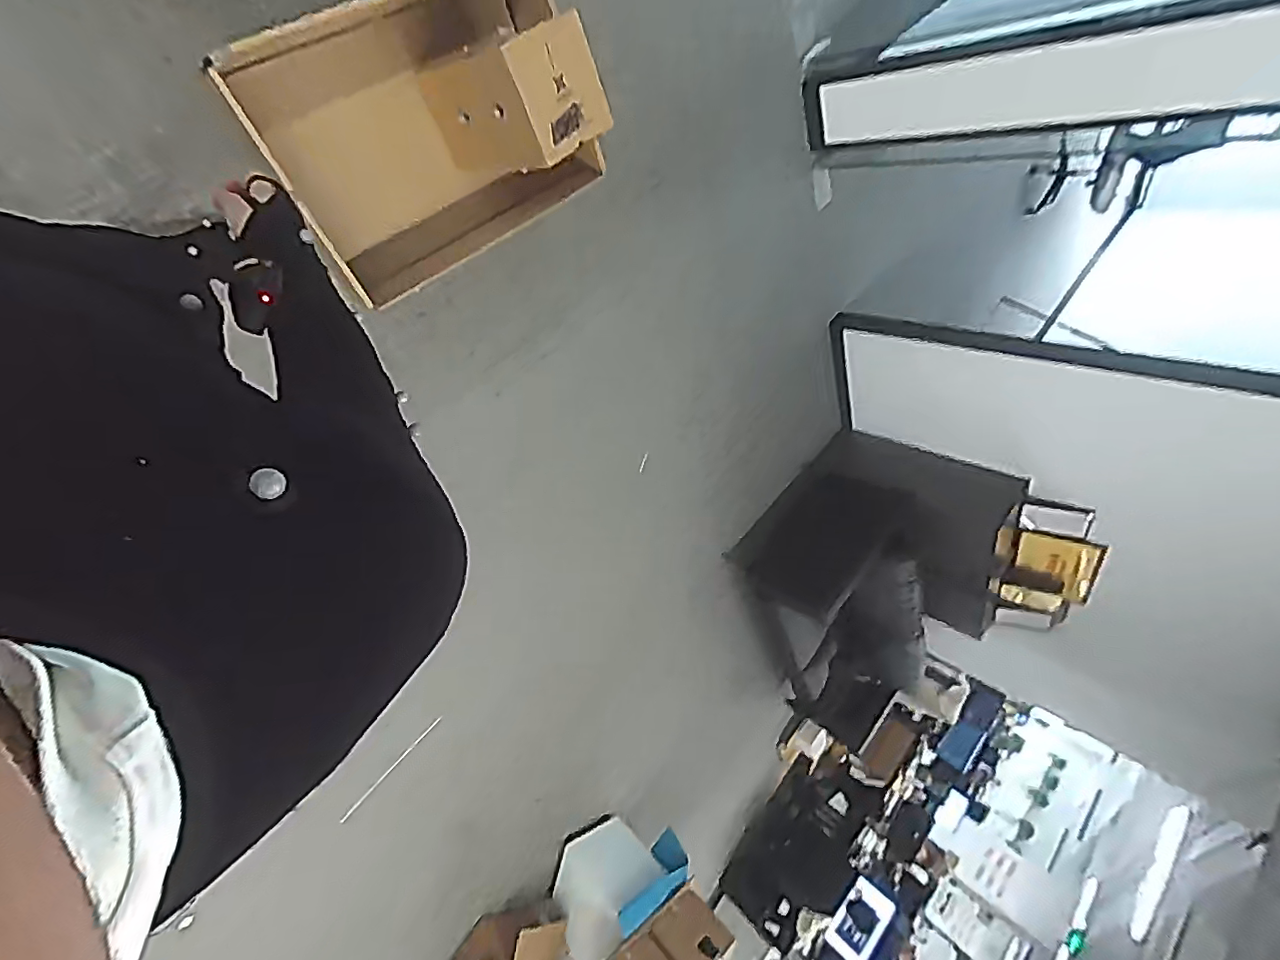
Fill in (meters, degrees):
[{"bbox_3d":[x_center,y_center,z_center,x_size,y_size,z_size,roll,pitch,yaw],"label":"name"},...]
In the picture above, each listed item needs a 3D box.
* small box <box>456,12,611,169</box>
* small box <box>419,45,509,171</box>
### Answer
[{"bbox_3d":[-0.186,-0.673,0.951,0.168,0.176,0.179,-44,135,-21],"label":"small box"},{"bbox_3d":[-0.294,-0.731,1.060,0.168,0.176,0.179,-43,135,-22],"label":"small box"}]
